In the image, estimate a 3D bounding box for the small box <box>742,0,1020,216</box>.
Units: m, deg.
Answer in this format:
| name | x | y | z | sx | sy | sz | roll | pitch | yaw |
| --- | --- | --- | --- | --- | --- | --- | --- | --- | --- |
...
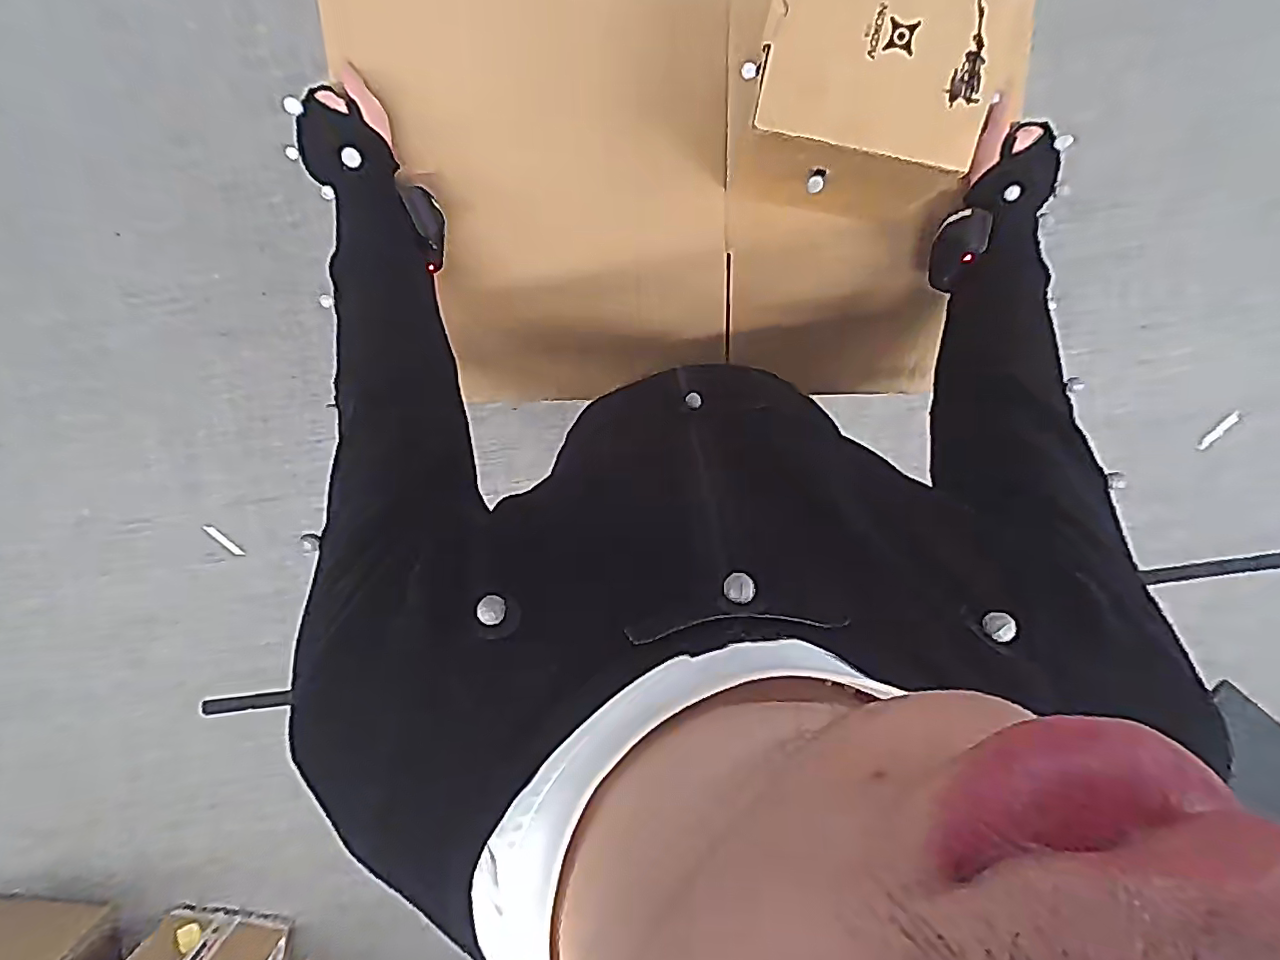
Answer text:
| name | x | y | z | sx | sy | sz | roll | pitch | yaw |
| --- | --- | --- | --- | --- | --- | --- | --- | --- | --- |
| small box | 0.199 | -0.360 | 0.492 | 0.179 | 0.176 | 0.168 | 13 | 103 | 2 |
